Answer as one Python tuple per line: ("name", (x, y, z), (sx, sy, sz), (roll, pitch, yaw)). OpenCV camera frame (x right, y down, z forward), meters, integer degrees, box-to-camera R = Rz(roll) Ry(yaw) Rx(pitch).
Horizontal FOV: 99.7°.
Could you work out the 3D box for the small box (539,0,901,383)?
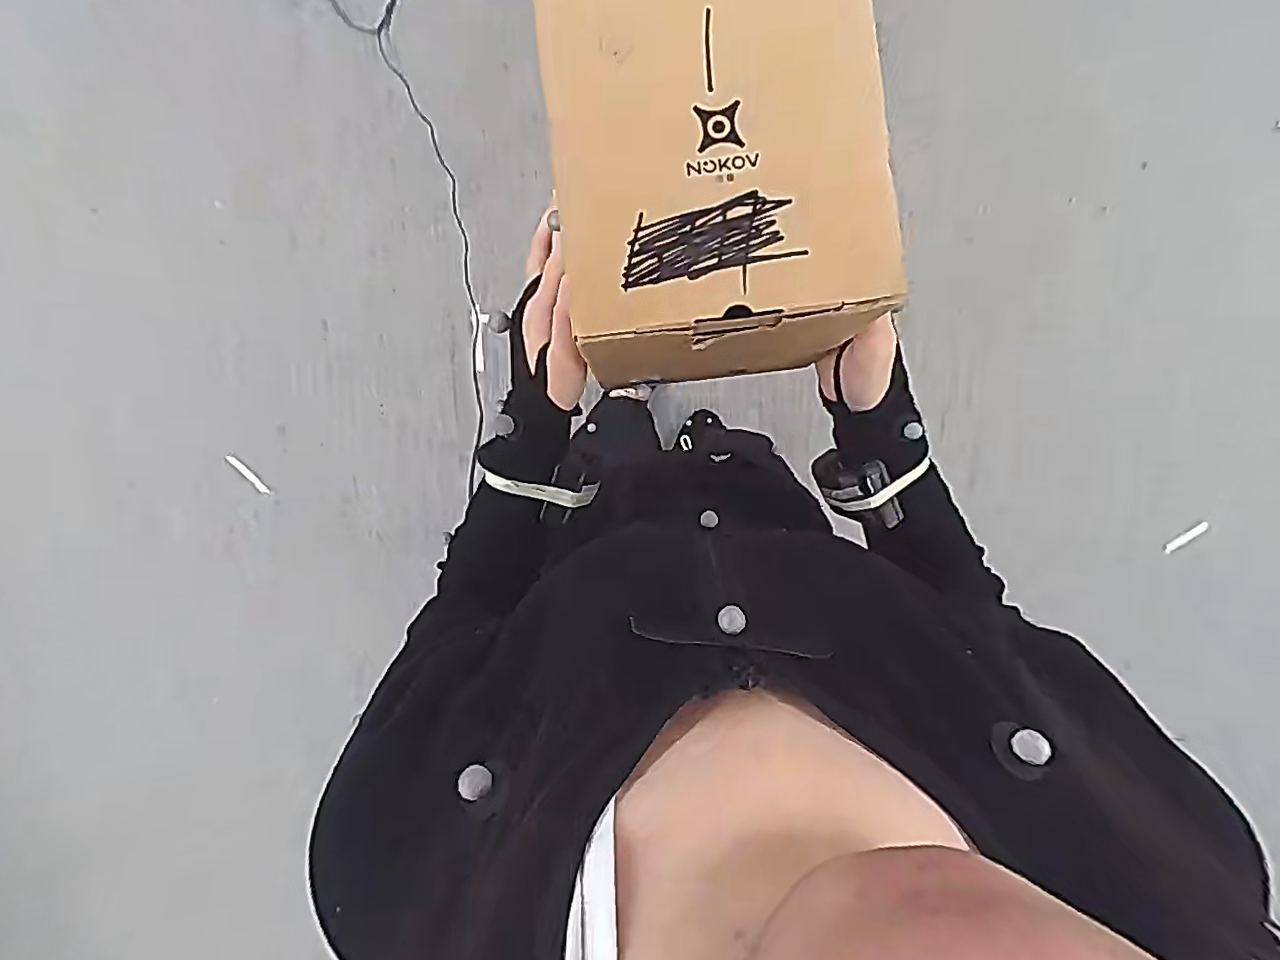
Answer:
("small box", (0.042, -0.164, 0.349), (0.168, 0.176, 0.179), (-7, 89, 1))
